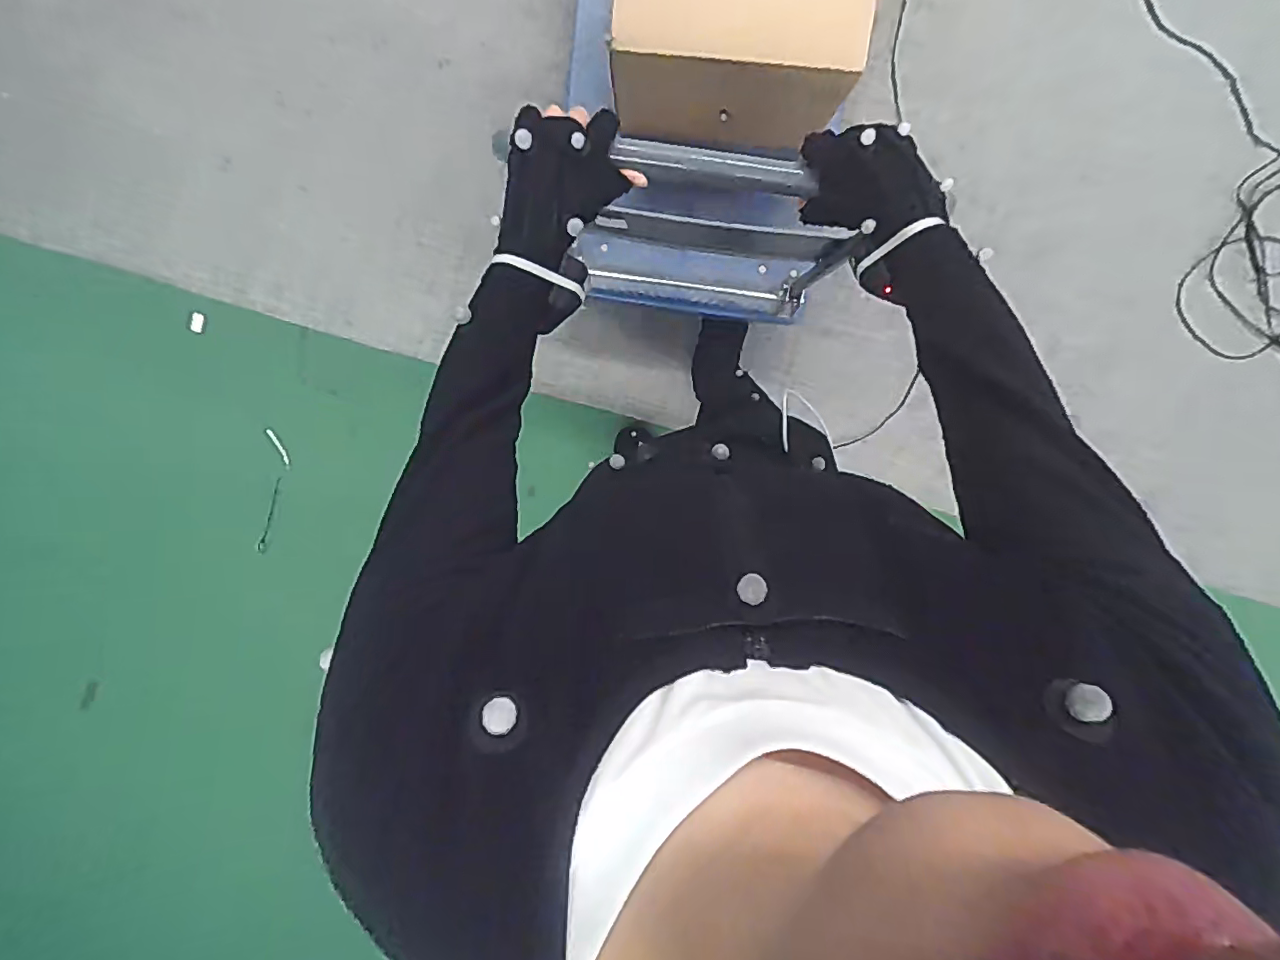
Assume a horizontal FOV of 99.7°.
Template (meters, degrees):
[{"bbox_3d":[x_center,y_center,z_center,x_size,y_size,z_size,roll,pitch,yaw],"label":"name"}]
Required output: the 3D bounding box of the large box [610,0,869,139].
[{"bbox_3d":[0.164,-0.842,0.964,0.408,0.320,0.320,4,102,0],"label":"large box"}]
